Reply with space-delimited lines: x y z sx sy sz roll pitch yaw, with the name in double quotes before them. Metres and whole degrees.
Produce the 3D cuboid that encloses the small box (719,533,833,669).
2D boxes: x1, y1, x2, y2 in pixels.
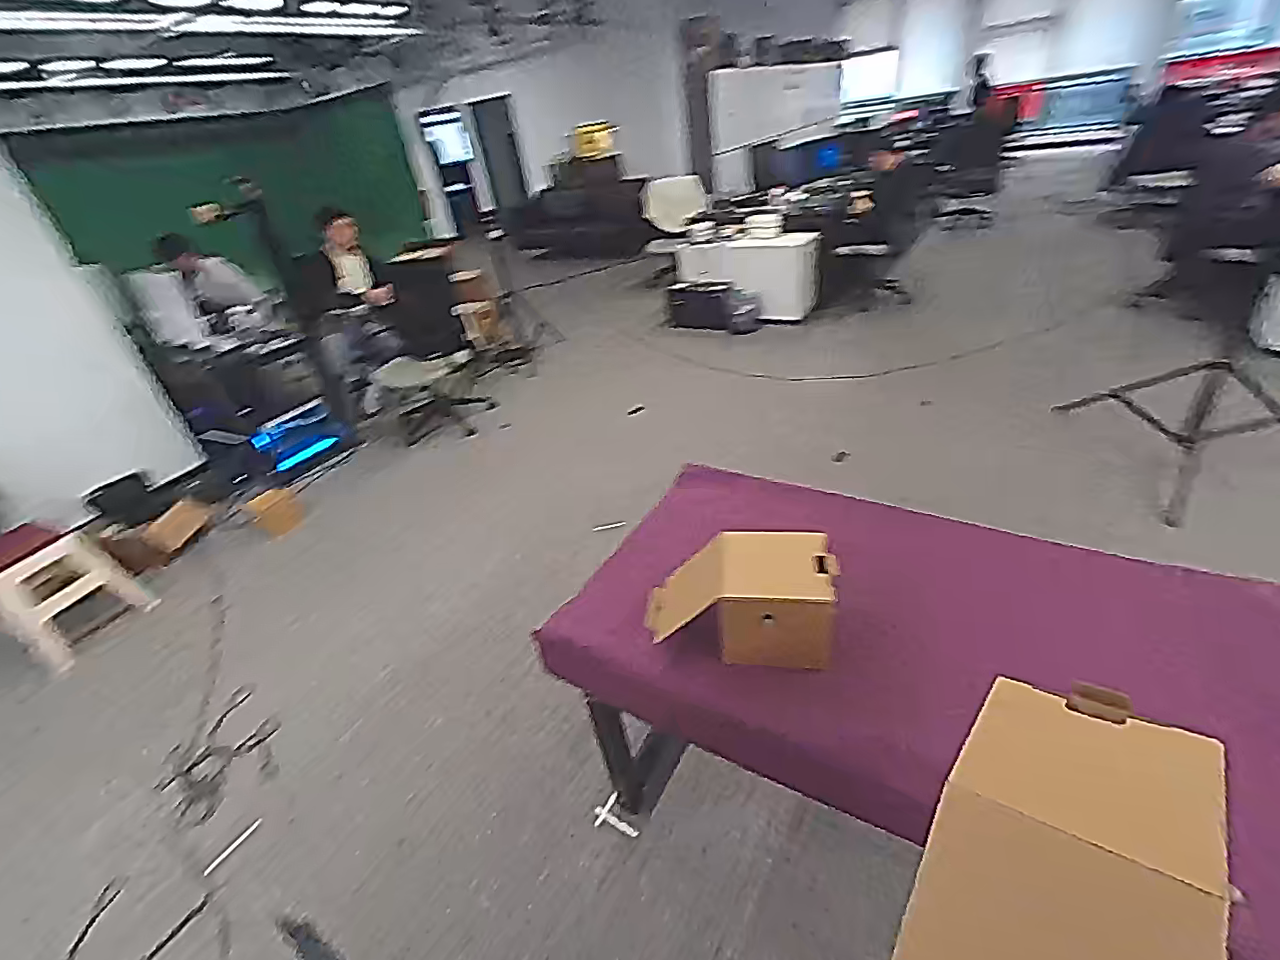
"small box" 0.235 0.210 0.946 0.179 0.176 0.168 0 35 13
